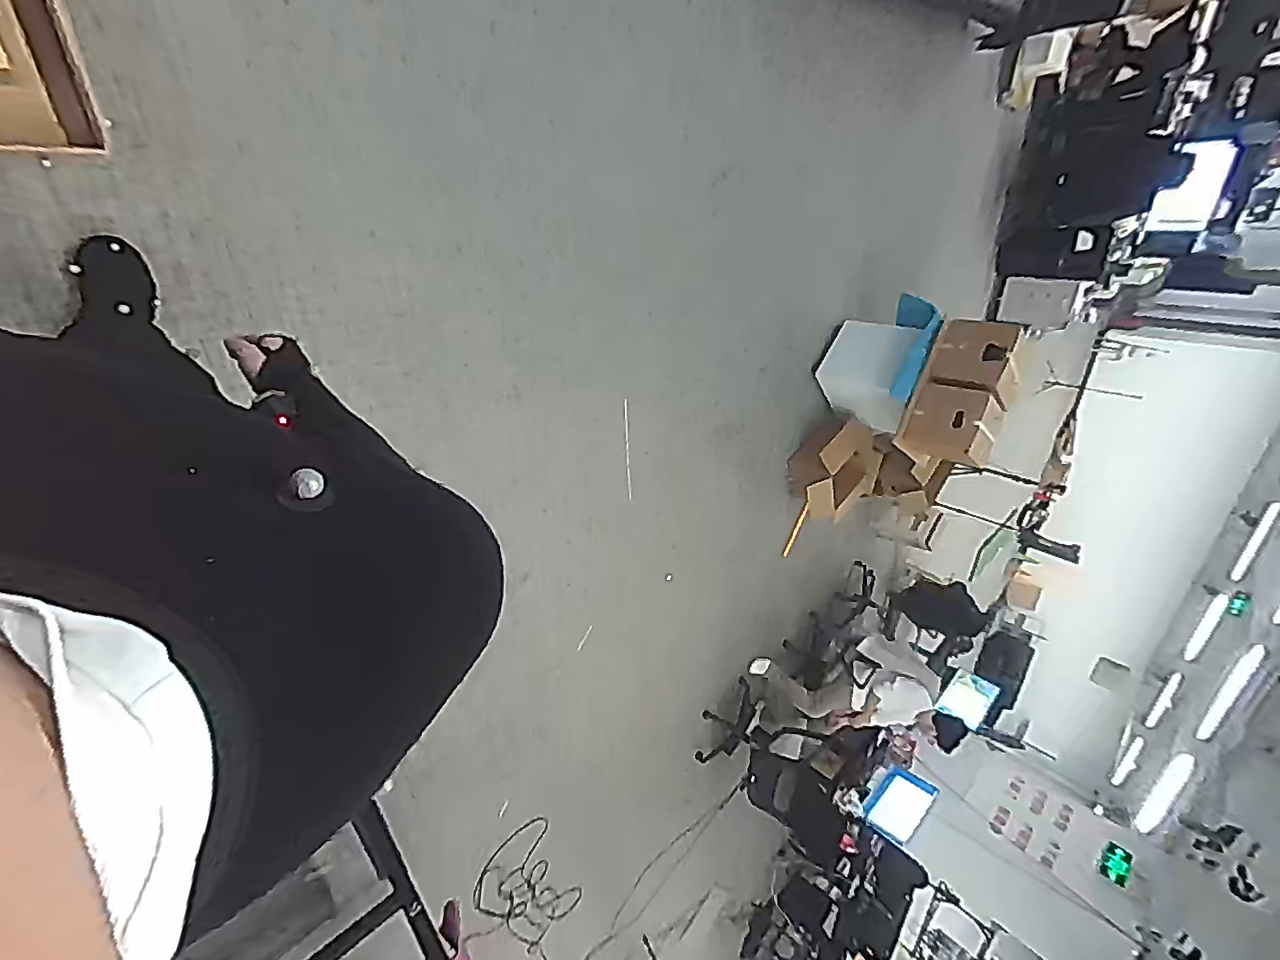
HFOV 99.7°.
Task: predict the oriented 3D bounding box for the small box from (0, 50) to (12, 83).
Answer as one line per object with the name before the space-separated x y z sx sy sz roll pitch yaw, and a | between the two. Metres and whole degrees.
small box | -1.097 -0.714 0.802 0.168 0.176 0.179 -25 126 -36
